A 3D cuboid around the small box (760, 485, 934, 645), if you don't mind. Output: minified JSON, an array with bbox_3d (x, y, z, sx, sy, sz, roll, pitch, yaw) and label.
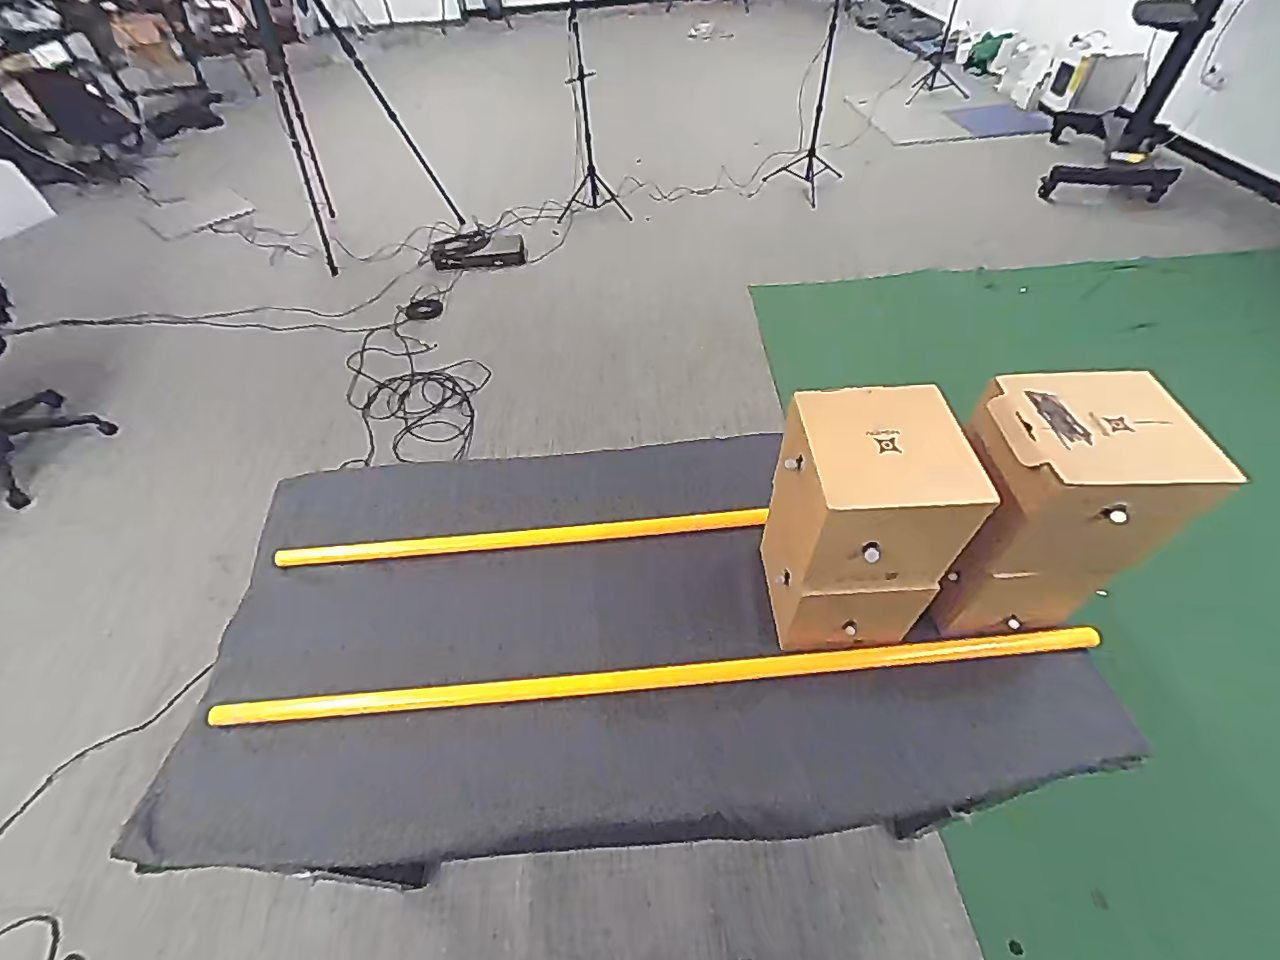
[{"bbox_3d":[0.270,0.120,0.752,0.168,0.176,0.179,-3,50,1],"label":"small box"}]

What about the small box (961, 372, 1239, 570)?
[{"bbox_3d":[0.489,-0.006,0.628,0.179,0.176,0.168,-1,51,2],"label":"small box"}]

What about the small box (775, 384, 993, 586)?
[{"bbox_3d":[0.260,0.013,0.630,0.168,0.176,0.179,-3,50,2],"label":"small box"}]
